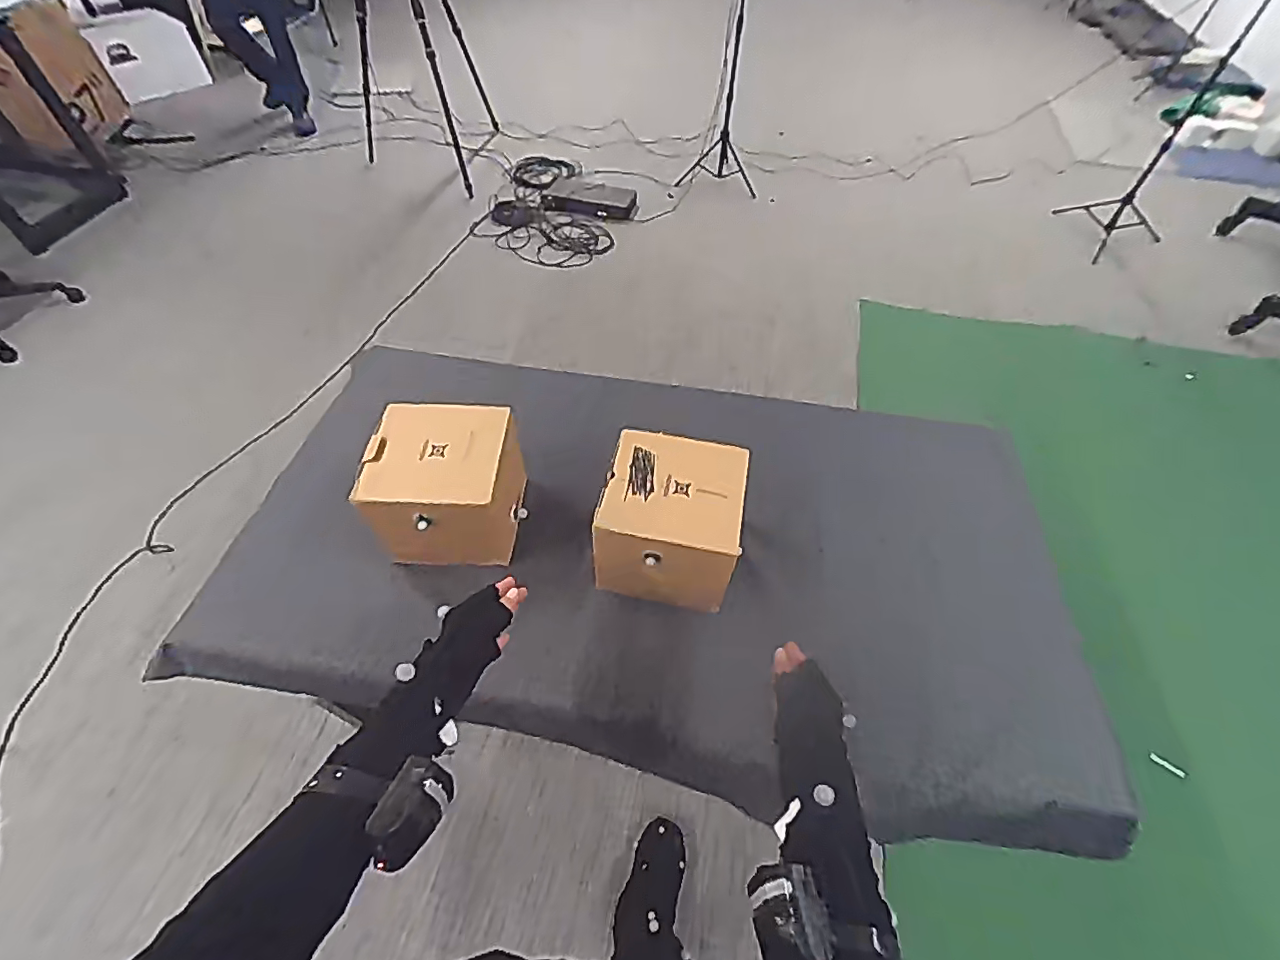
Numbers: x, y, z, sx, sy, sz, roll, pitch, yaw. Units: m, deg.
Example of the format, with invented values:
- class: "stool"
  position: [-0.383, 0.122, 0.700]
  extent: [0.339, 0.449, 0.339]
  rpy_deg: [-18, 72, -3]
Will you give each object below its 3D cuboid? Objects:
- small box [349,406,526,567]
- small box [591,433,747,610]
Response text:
- class: "small box"
  position: [-0.272, 0.014, 0.774]
  extent: [0.179, 0.176, 0.168]
  rpy_deg: [2, 54, -1]
- class: "small box"
  position: [0.040, 0.061, 0.747]
  extent: [0.179, 0.176, 0.168]
  rpy_deg: [10, 53, 6]
